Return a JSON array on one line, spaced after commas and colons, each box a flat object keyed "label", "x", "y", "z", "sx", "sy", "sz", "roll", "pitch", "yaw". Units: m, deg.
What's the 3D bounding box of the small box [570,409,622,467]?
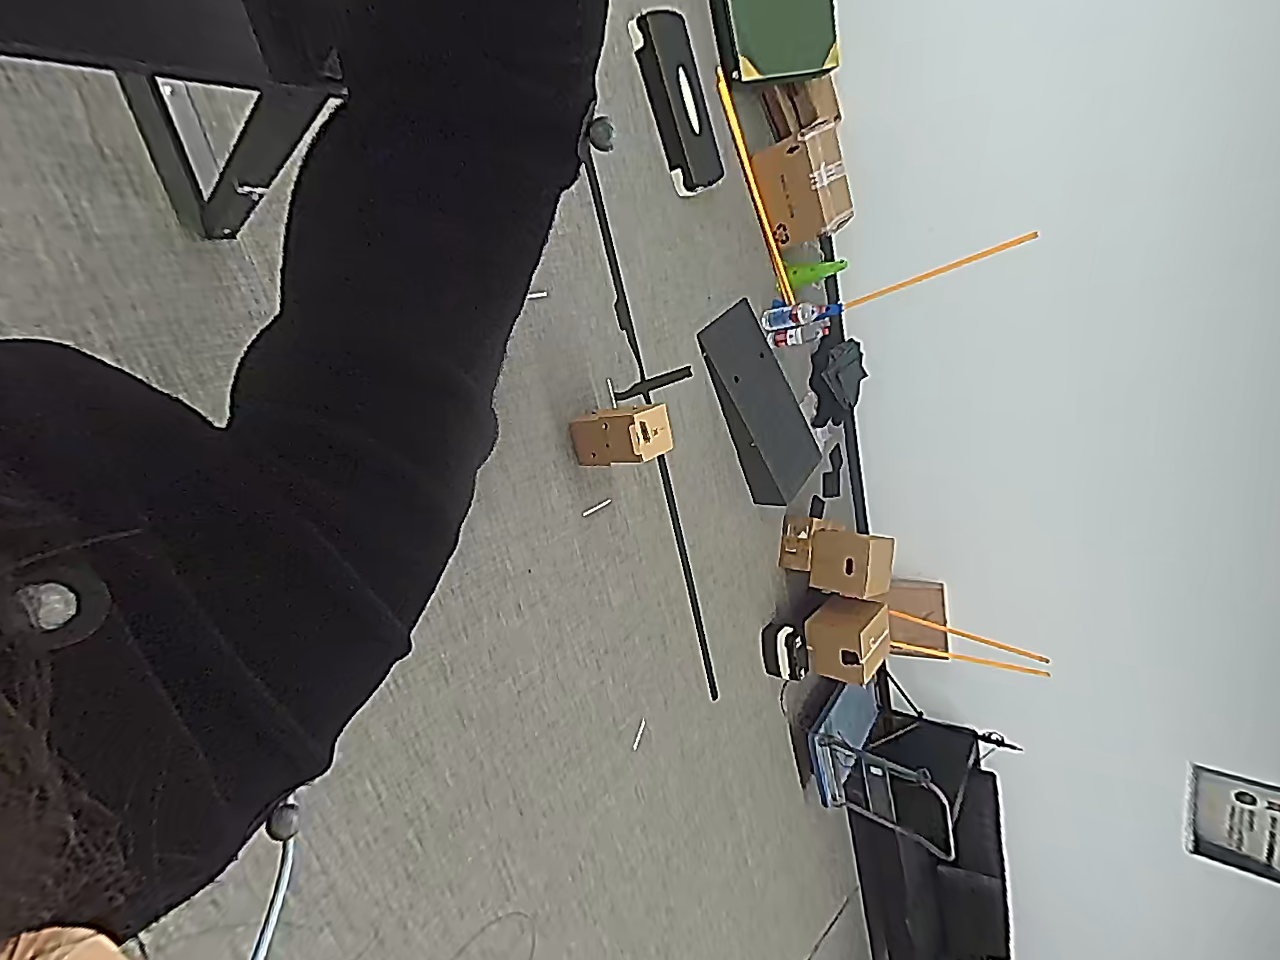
[{"label": "small box", "x": -0.131, "y": -0.157, "z": 1.985, "sx": 0.168, "sy": 0.176, "sz": 0.179, "roll": -30, "pitch": 113, "yaw": -43}]

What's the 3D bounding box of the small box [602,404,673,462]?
[{"label": "small box", "x": -0.015, "y": -0.161, "z": 1.869, "sx": 0.179, "sy": 0.176, "sz": 0.168, "roll": -27, "pitch": 112, "yaw": -45}]
